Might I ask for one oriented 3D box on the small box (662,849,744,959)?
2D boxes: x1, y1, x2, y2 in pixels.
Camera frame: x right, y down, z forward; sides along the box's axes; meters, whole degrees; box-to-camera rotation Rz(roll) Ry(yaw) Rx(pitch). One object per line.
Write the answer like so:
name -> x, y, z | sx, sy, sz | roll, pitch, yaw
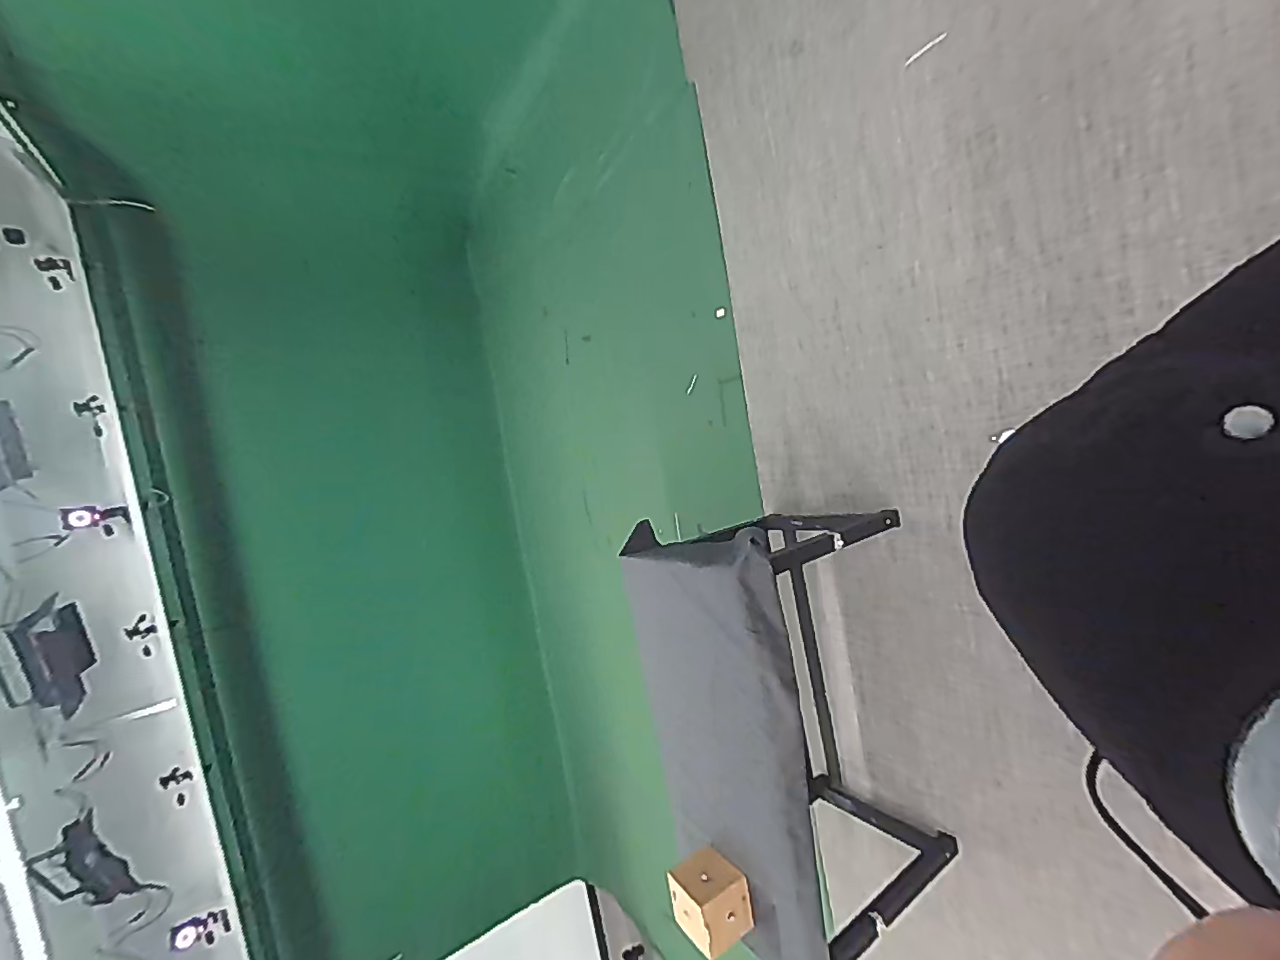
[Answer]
small box -> 0.193, 1.253, 1.612 | 0.179, 0.176, 0.168 | -3, 97, 57
